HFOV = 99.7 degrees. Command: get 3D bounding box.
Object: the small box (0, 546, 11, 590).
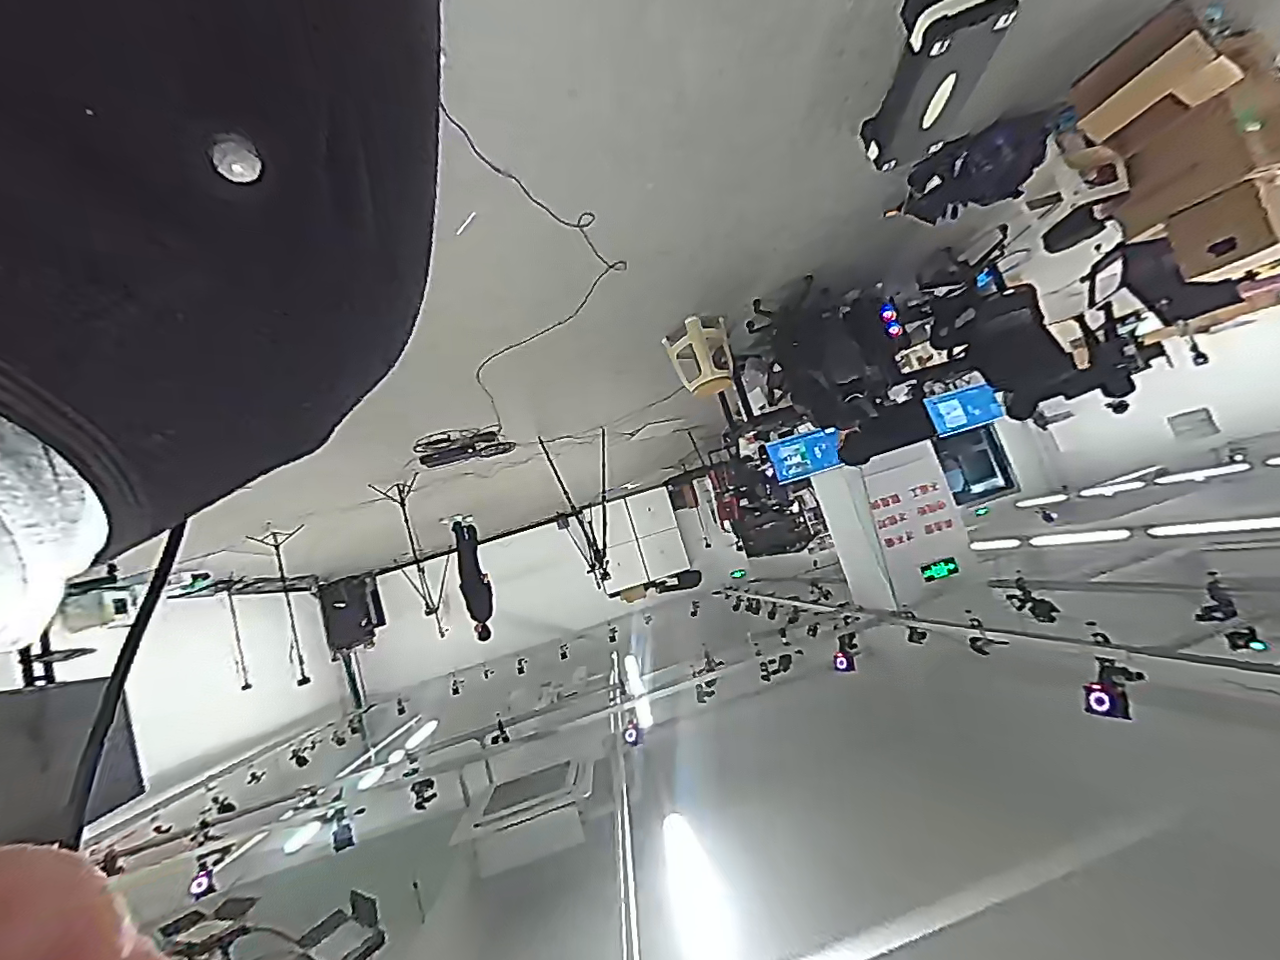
[{"bbox_3d":[-2.160,0.283,1.693,0.179,0.176,0.168,-18,171,-1],"label":"small box"}]
